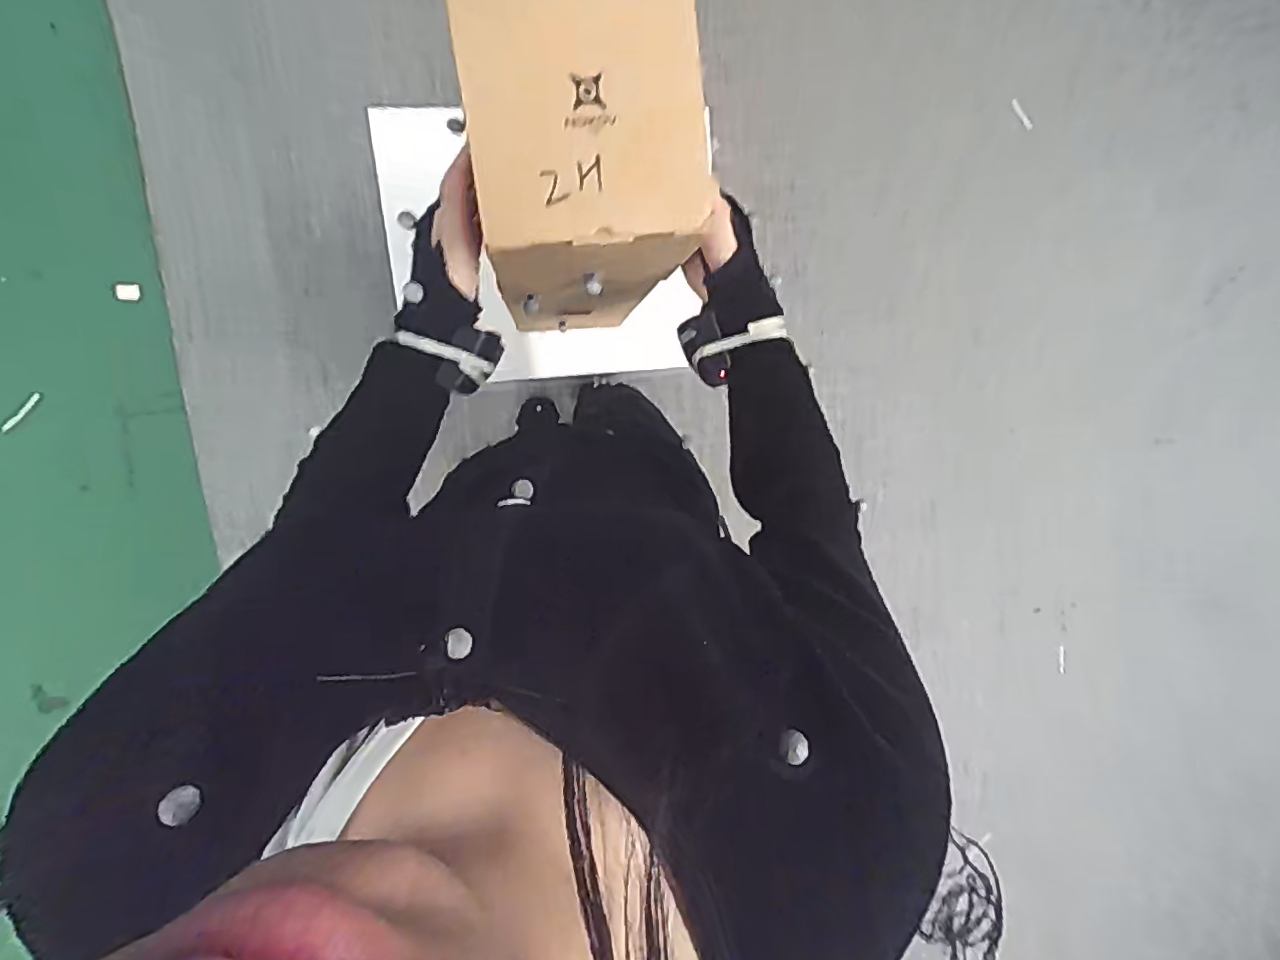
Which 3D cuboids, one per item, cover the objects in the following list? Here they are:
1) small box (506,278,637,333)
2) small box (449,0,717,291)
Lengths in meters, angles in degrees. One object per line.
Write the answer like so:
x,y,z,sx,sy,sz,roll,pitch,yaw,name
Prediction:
-0.103,-0.310,0.755,0.168,0.176,0.179,-6,98,-9,small box
-0.048,-0.265,0.434,0.168,0.176,0.179,-8,99,-8,small box
